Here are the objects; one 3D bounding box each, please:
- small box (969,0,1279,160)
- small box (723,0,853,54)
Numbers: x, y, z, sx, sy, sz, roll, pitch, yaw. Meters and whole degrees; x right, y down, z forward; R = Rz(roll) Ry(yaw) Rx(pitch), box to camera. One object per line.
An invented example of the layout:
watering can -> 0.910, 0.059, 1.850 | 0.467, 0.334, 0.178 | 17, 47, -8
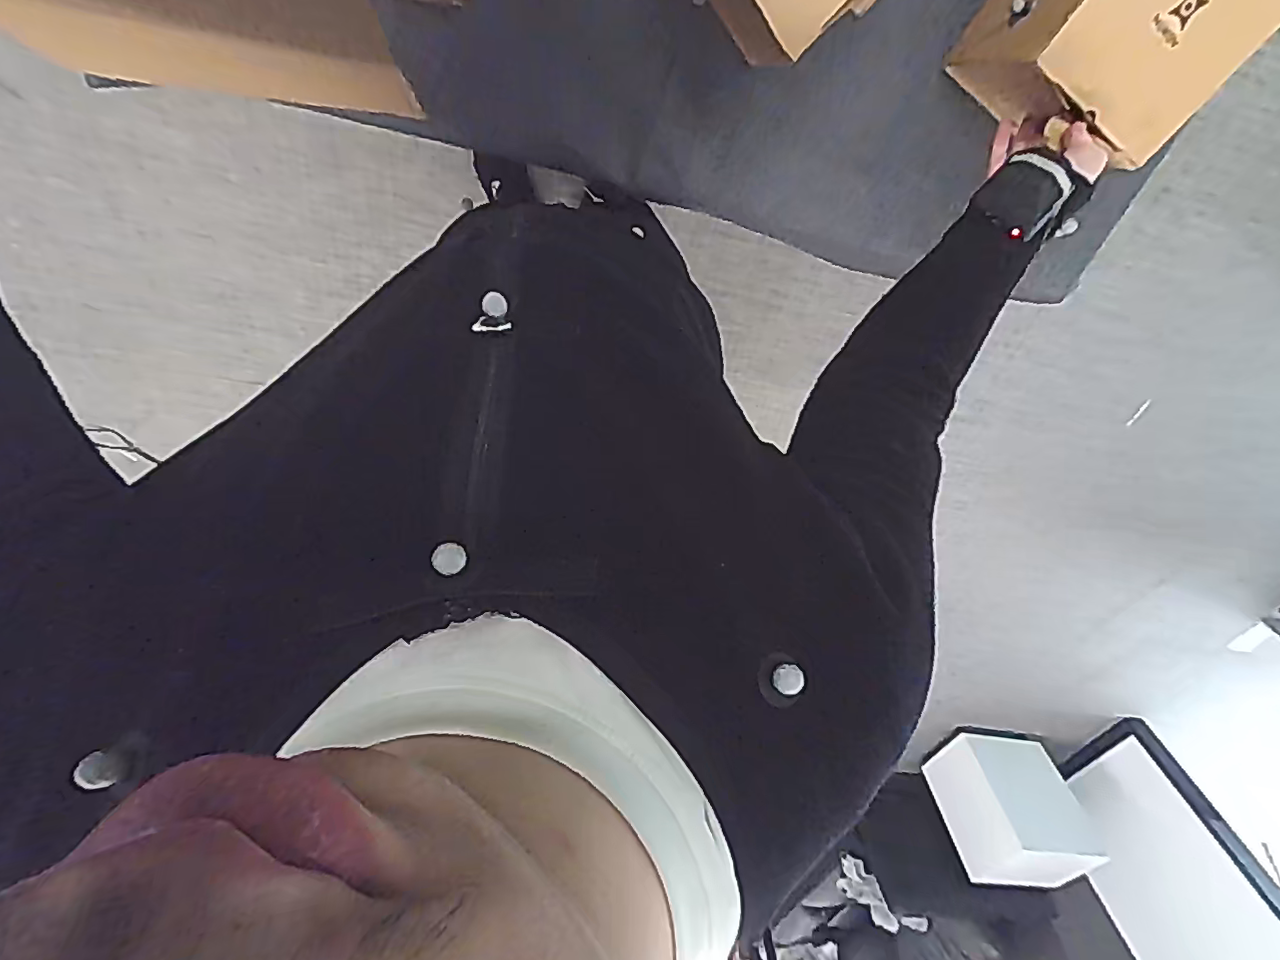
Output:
small box -> 0.452, -0.444, 0.510 | 0.168, 0.176, 0.179 | 23, 123, -20
small box -> 0.132, -0.506, 0.451 | 0.168, 0.176, 0.179 | -37, 121, 23
